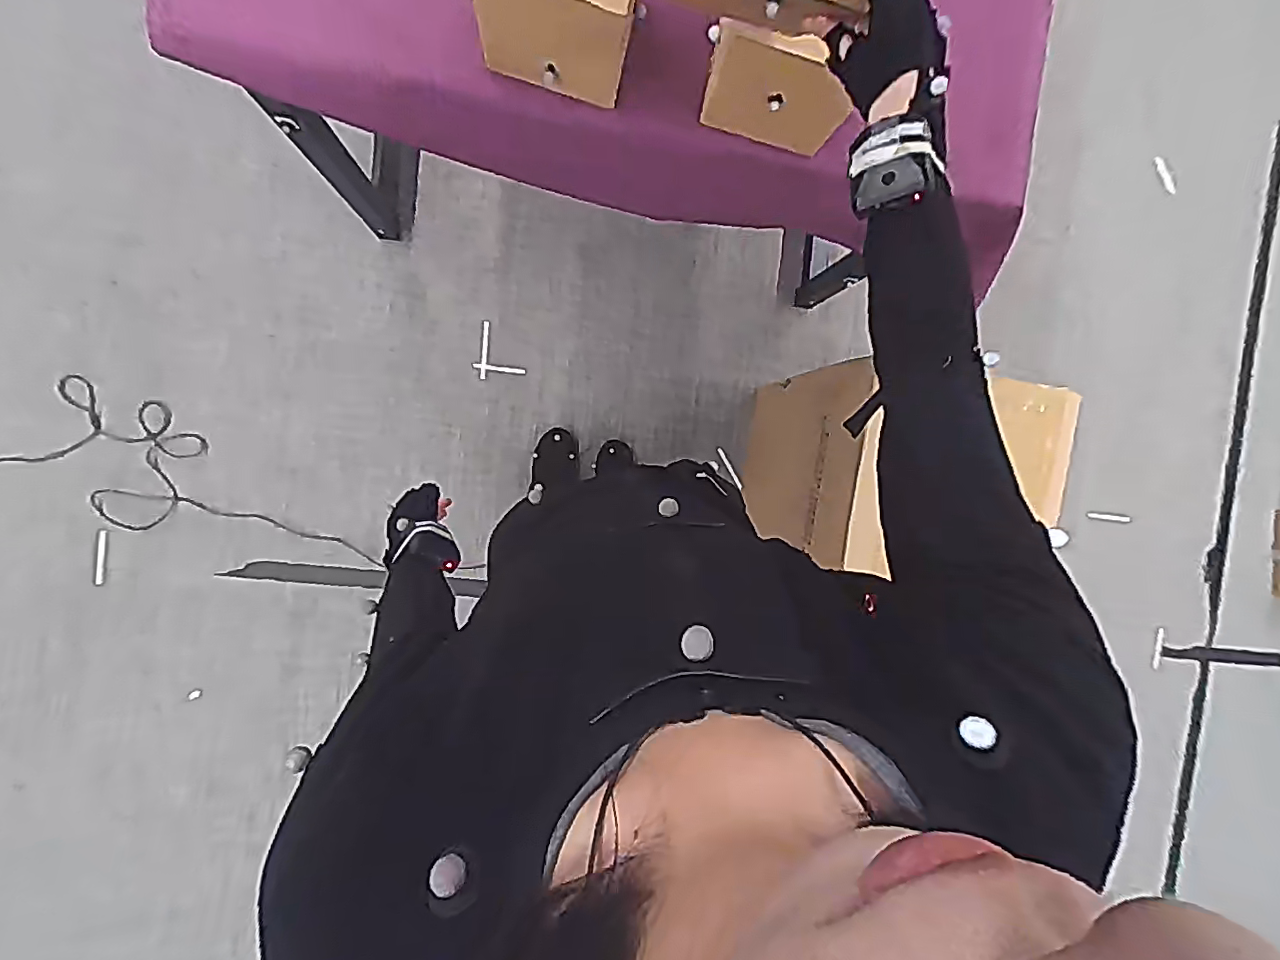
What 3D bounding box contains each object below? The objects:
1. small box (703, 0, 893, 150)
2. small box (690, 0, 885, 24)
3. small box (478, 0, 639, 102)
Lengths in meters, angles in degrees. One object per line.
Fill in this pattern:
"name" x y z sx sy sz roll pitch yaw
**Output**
"small box" 0.198 -0.565 0.697 0.179 0.176 0.168 12 91 -7
"small box" 0.124 -0.526 0.470 0.179 0.176 0.168 -2 123 -18
"small box" -0.088 -0.607 0.656 0.179 0.176 0.168 13 91 -9
